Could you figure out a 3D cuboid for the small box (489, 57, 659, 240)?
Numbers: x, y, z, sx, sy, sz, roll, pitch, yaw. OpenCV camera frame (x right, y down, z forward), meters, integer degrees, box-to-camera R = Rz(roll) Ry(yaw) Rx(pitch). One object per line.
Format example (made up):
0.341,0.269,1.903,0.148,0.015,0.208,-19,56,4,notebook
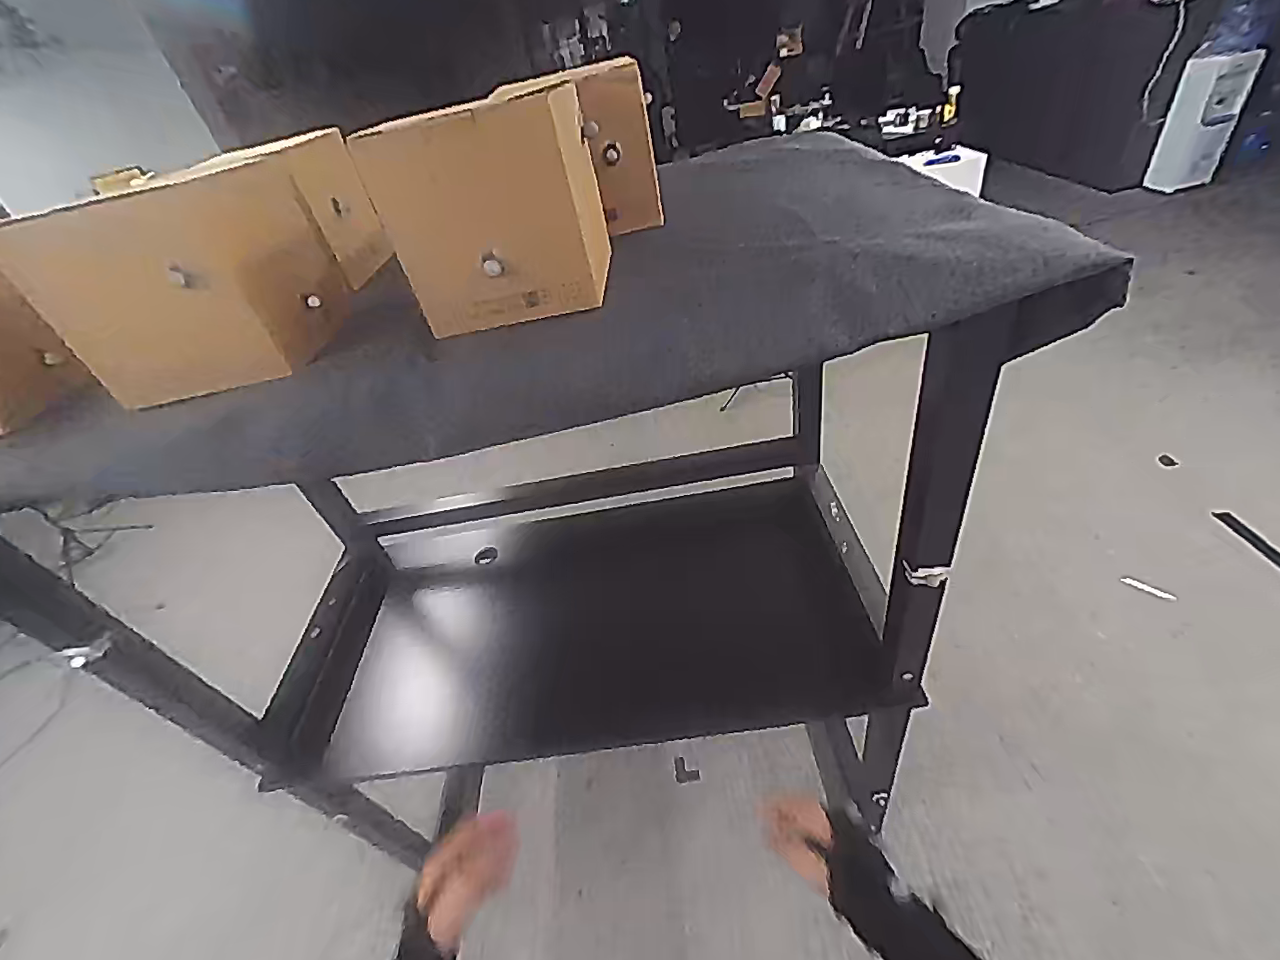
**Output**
-0.074,-0.408,0.684,0.168,0.176,0.179,-10,40,3,small box

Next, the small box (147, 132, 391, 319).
-0.467,-0.337,0.720,0.179,0.176,0.168,-10,40,6,small box

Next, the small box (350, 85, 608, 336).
-0.130,-0.259,0.522,0.168,0.176,0.179,-8,39,8,small box
